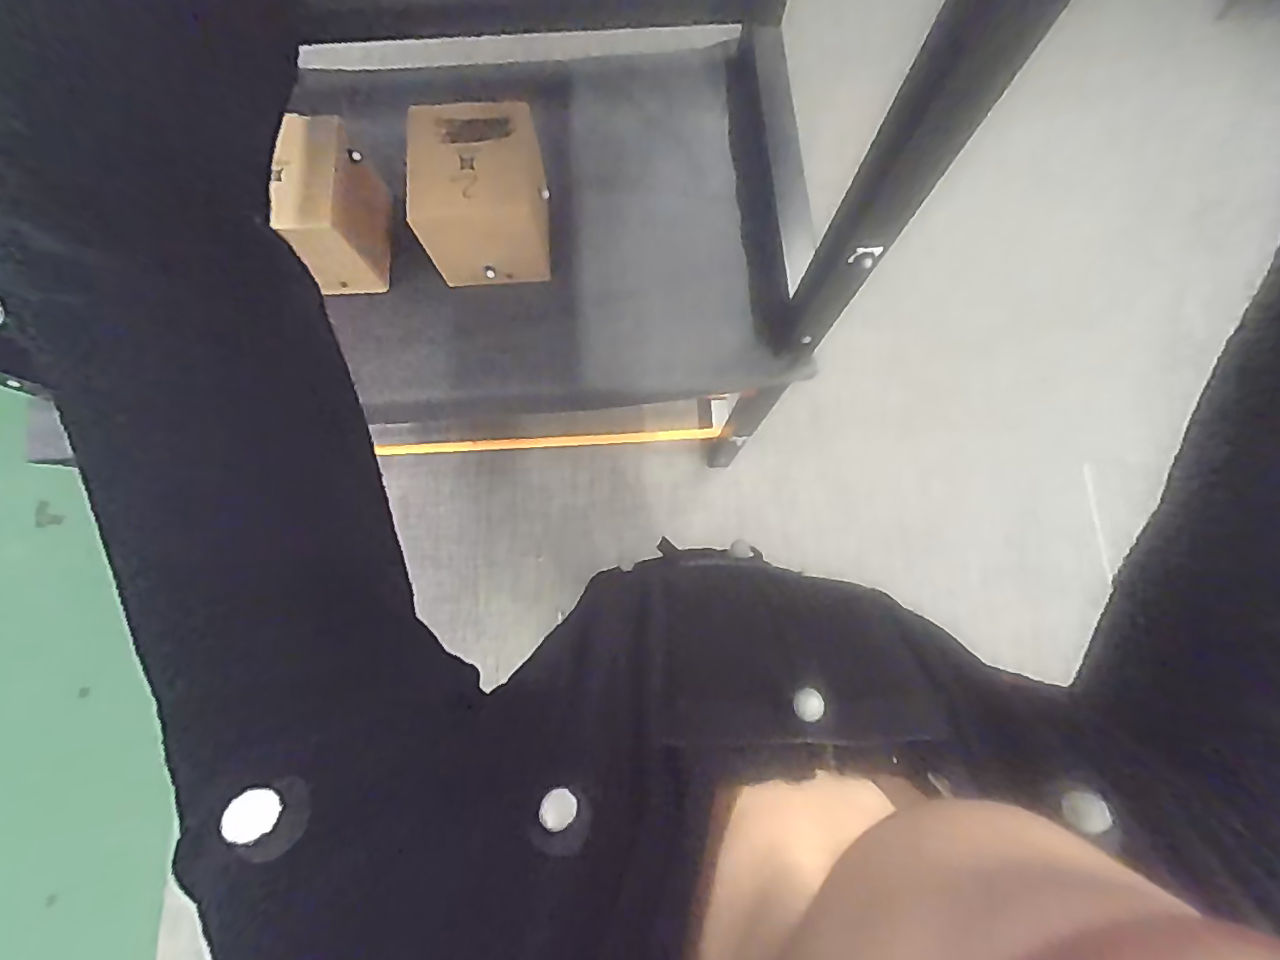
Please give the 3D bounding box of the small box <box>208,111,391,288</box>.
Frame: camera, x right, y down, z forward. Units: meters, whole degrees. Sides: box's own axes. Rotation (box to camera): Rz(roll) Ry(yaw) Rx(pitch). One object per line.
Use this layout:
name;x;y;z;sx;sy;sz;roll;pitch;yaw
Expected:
small box;-0.488;-0.401;0.802;0.168;0.176;0.179;-2;79;-1
